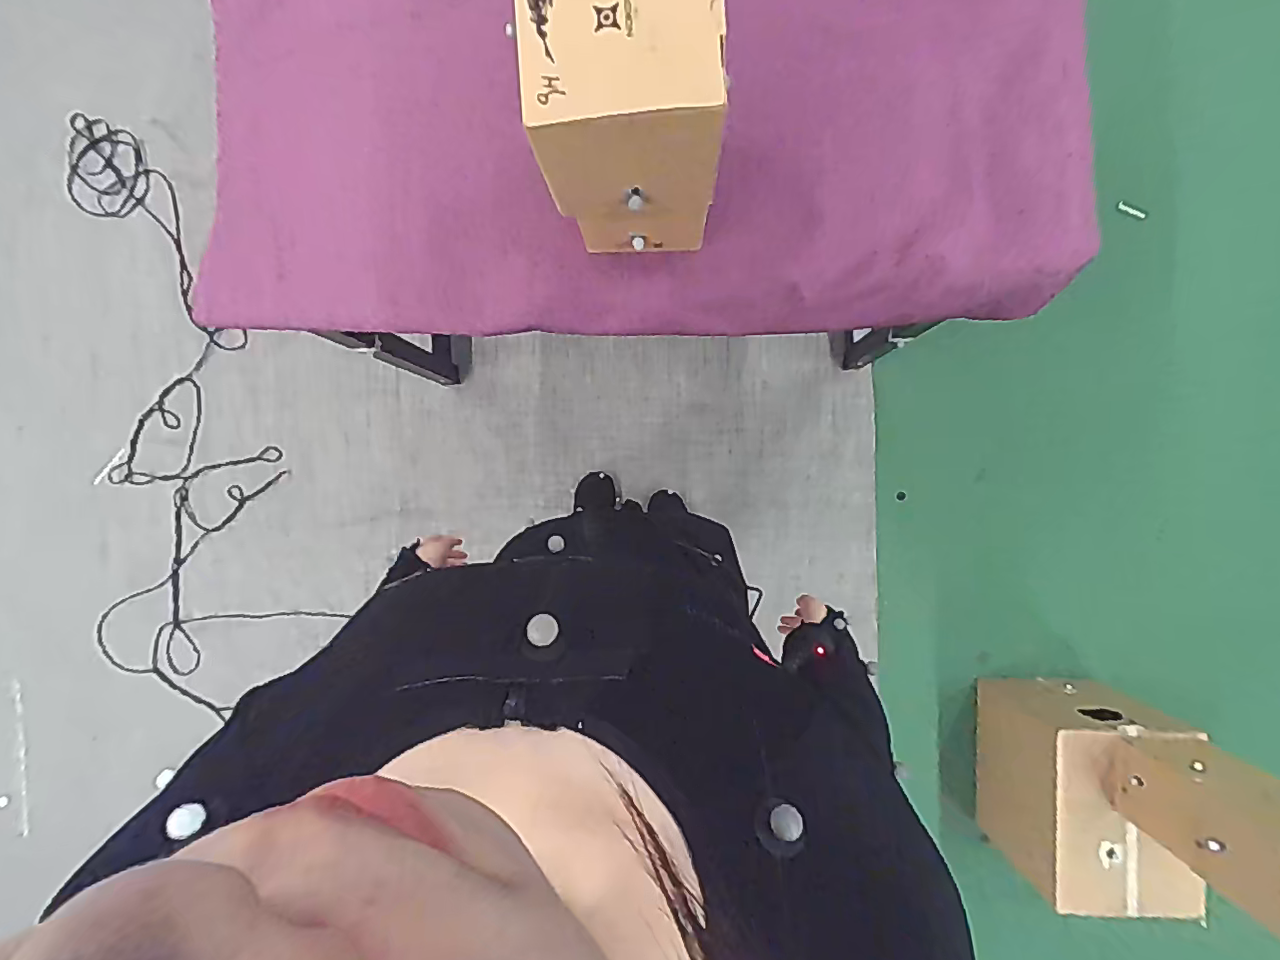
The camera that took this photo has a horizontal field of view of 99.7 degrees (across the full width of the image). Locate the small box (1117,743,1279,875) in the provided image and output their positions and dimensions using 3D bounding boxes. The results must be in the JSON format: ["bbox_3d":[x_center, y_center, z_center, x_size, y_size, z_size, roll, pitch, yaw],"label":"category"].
[{"bbox_3d":[1.092,0.634,1.055,0.179,0.176,0.168,0,91,3],"label":"small box"}]

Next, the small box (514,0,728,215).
[{"bbox_3d":[-0.015,-0.382,0.527,0.179,0.176,0.168,-3,90,3],"label":"small box"}]

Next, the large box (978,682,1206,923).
[{"bbox_3d":[1.054,0.739,1.300,0.320,0.320,0.408,0,91,4],"label":"large box"}]

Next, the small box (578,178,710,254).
[{"bbox_3d":[0.001,-0.410,0.690,0.168,0.176,0.179,0,90,3],"label":"small box"}]

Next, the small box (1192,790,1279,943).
[{"bbox_3d":[1.082,0.638,0.890,0.179,0.176,0.168,-1,90,3],"label":"small box"}]
